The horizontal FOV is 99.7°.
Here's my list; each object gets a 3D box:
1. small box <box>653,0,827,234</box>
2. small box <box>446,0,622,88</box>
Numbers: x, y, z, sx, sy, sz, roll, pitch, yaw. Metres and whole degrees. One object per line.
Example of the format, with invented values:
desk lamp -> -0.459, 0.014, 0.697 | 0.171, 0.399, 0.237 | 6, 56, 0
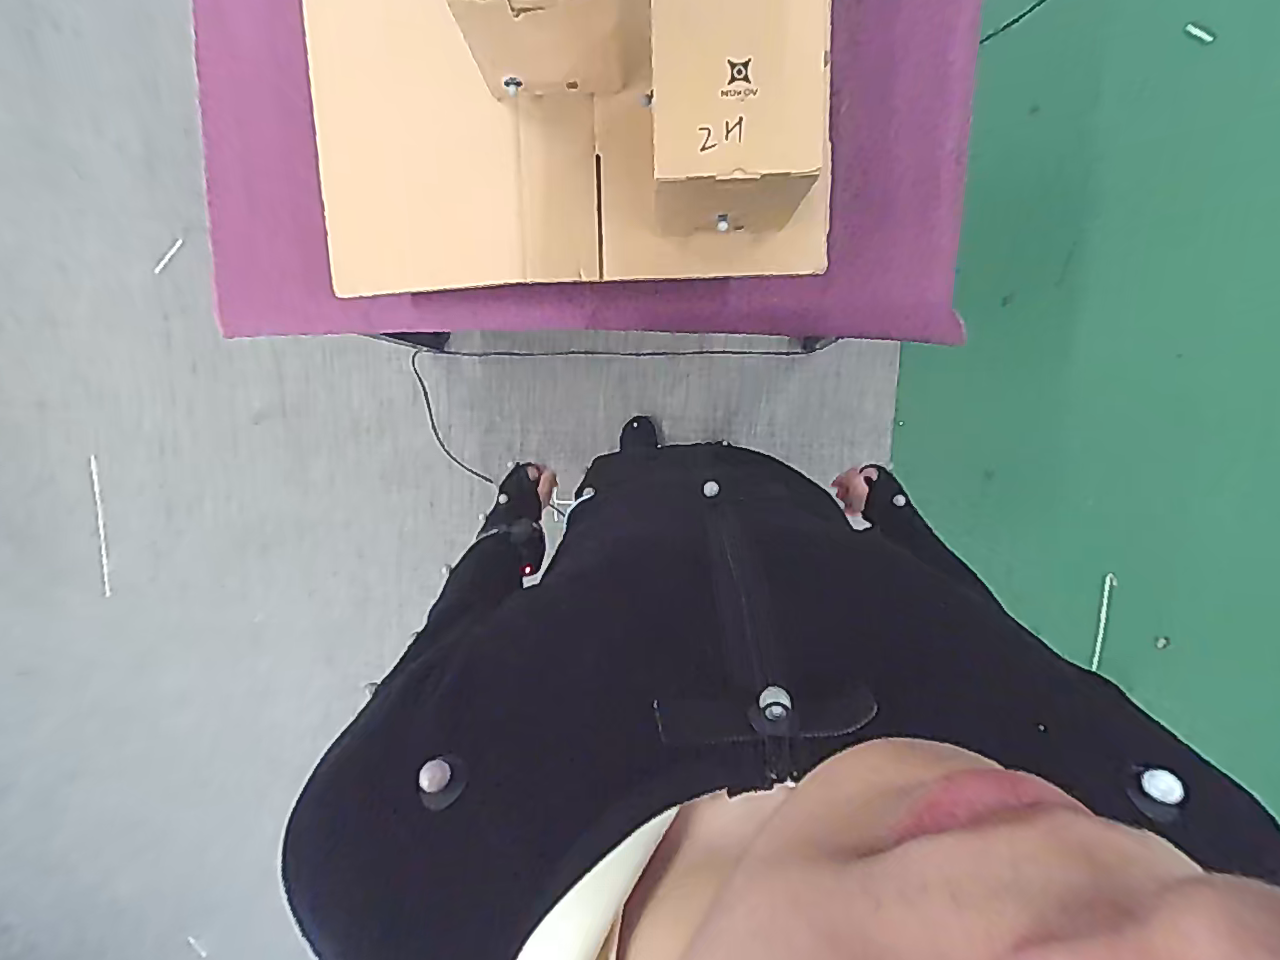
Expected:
small box -> 0.097, -0.392, 0.598 | 0.168, 0.176, 0.179 | 0, 97, 3
small box -> -0.106, -0.556, 0.581 | 0.168, 0.176, 0.179 | -2, 96, 1
